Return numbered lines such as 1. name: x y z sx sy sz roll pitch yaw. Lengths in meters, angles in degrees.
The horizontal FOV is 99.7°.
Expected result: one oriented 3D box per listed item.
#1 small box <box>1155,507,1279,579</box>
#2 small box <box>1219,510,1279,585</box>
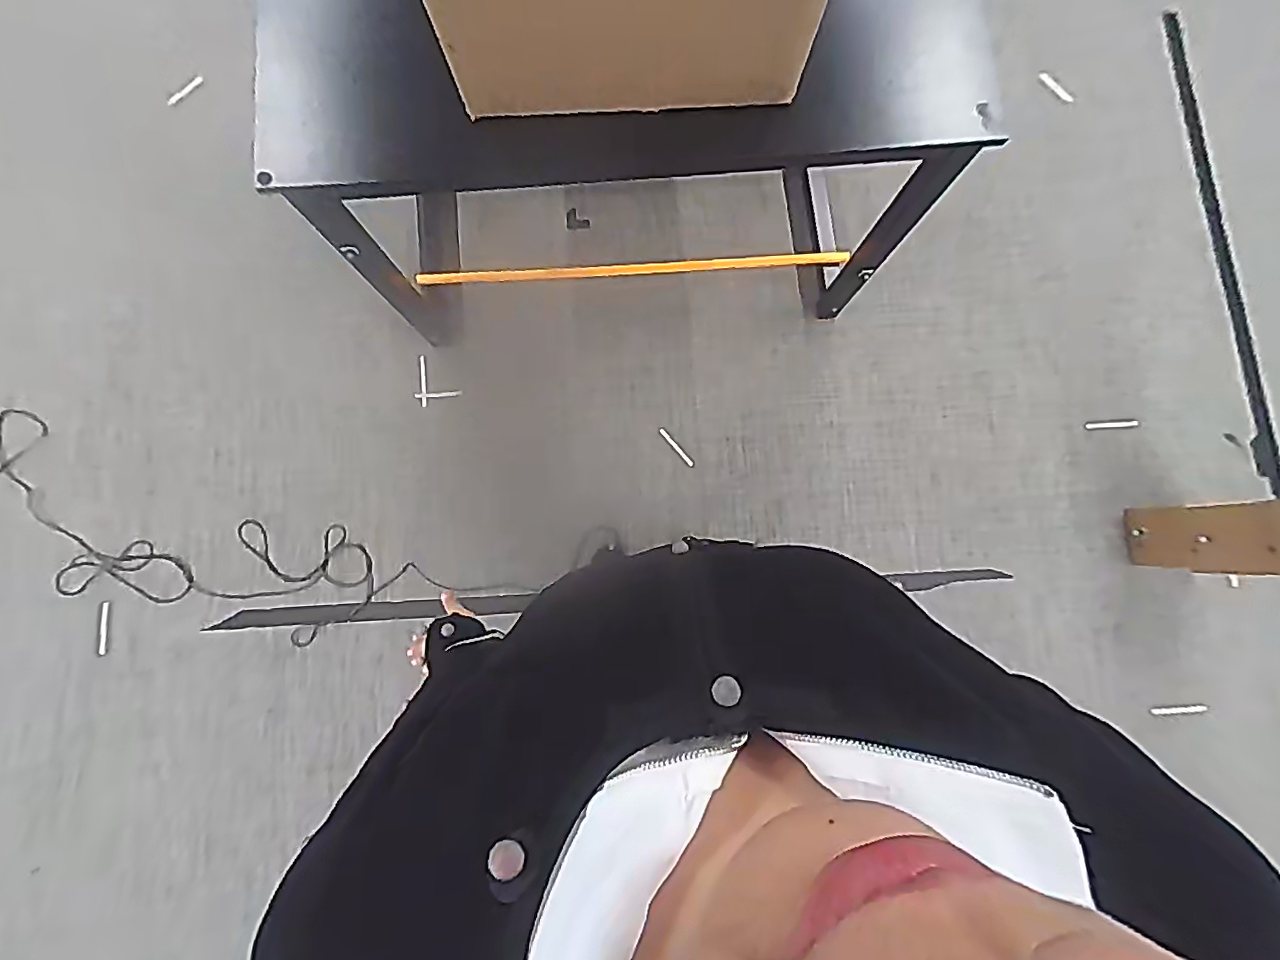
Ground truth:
1. small box: 1.490 0.159 1.382 0.179 0.176 0.168 -5 83 0
2. small box: 1.485 0.148 1.217 0.179 0.176 0.168 -4 82 -1
